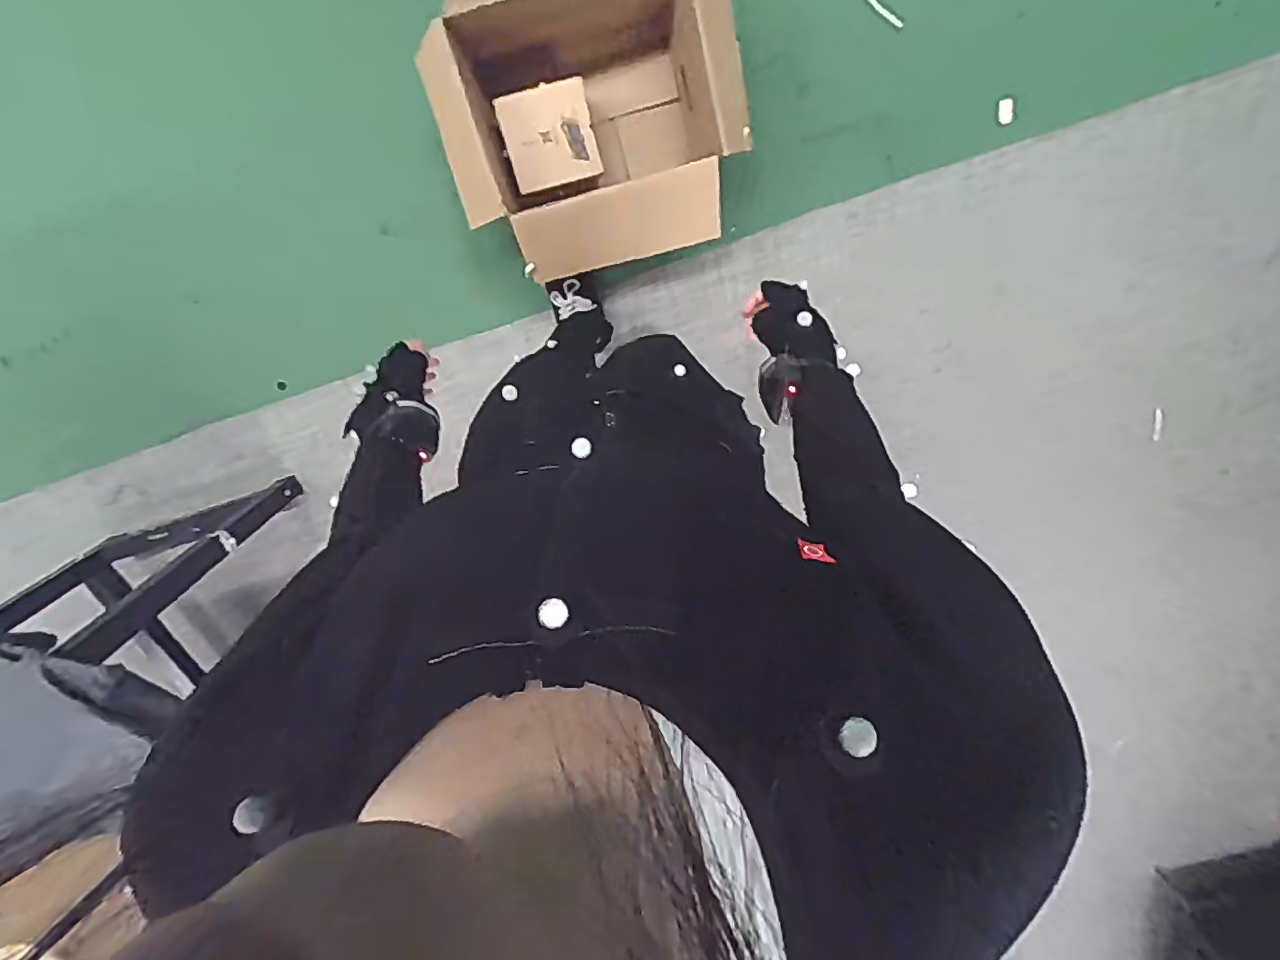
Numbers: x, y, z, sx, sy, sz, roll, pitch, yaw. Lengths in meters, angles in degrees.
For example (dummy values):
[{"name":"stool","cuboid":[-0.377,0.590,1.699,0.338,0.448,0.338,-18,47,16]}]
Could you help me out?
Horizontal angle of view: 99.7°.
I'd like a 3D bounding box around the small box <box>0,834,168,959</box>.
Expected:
[{"name":"small box","cuboid":[-0.978,0.745,0.917,0.179,0.176,0.168,-17,115,2]}]
